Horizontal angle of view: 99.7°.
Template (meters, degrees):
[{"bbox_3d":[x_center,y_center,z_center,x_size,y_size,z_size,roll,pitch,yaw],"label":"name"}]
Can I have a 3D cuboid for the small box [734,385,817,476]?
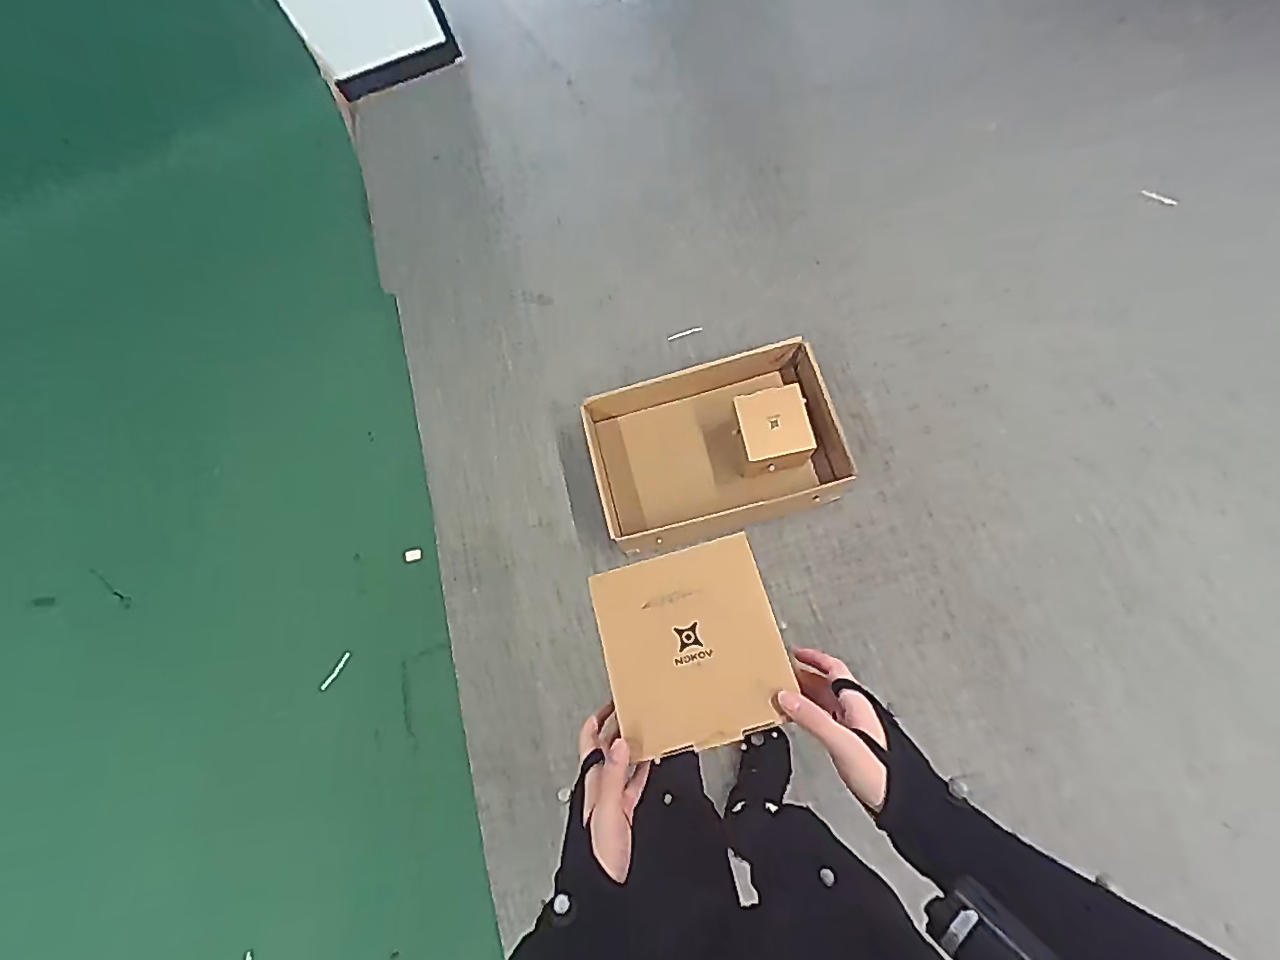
[{"bbox_3d":[0.342,-0.118,1.392,0.168,0.176,0.179,-12,73,5],"label":"small box"}]

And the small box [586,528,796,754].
[{"bbox_3d":[0.054,0.174,0.578,0.168,0.176,0.179,-16,65,3],"label":"small box"}]
